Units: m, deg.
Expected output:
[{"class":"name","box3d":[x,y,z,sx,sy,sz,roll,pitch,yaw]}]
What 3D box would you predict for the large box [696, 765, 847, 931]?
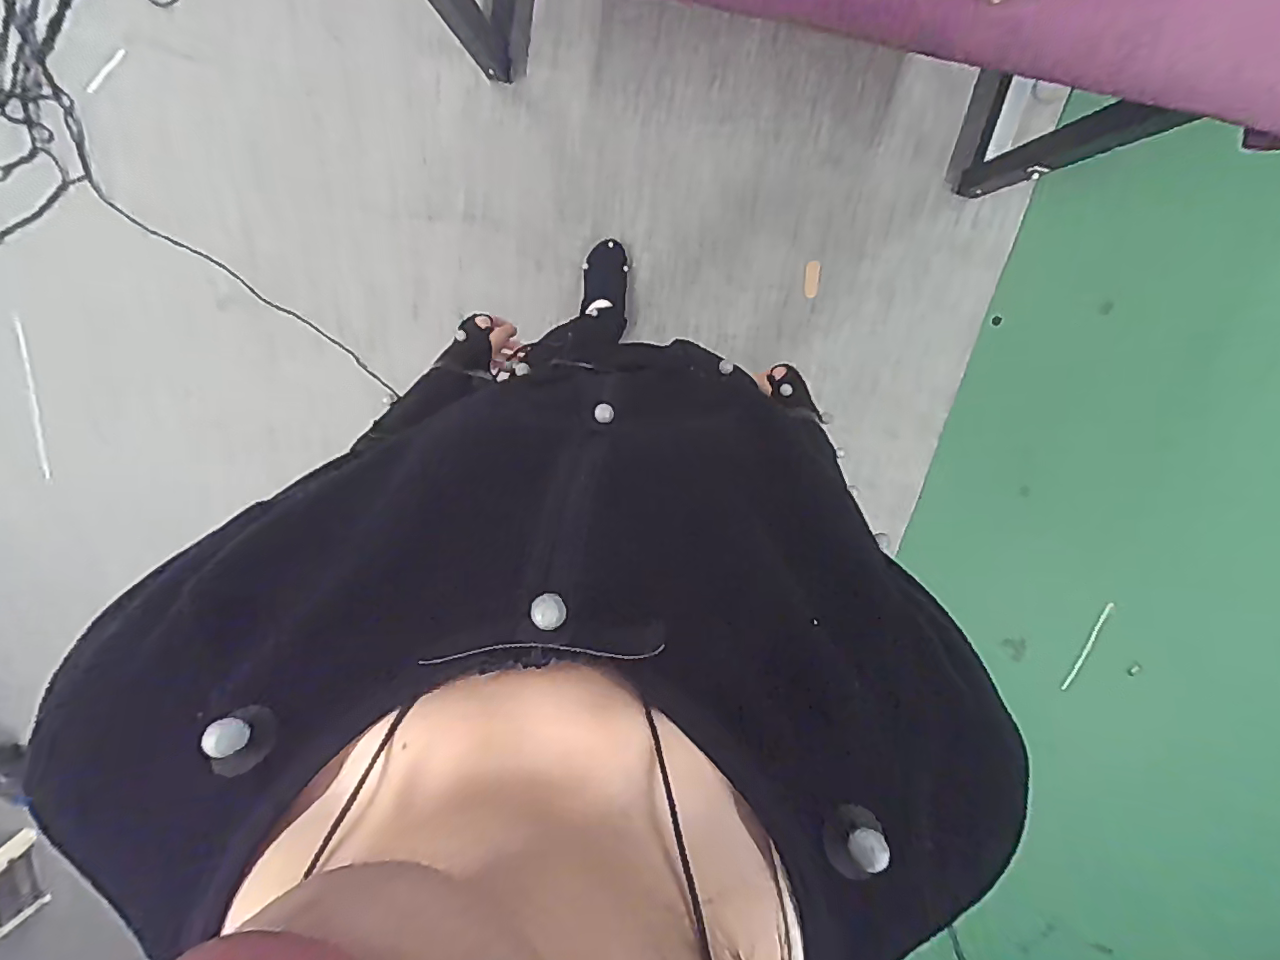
[{"class":"large box","box3d":[0.395,1.146,1.707,0.408,0.320,0.320,-3,107,1]}]
